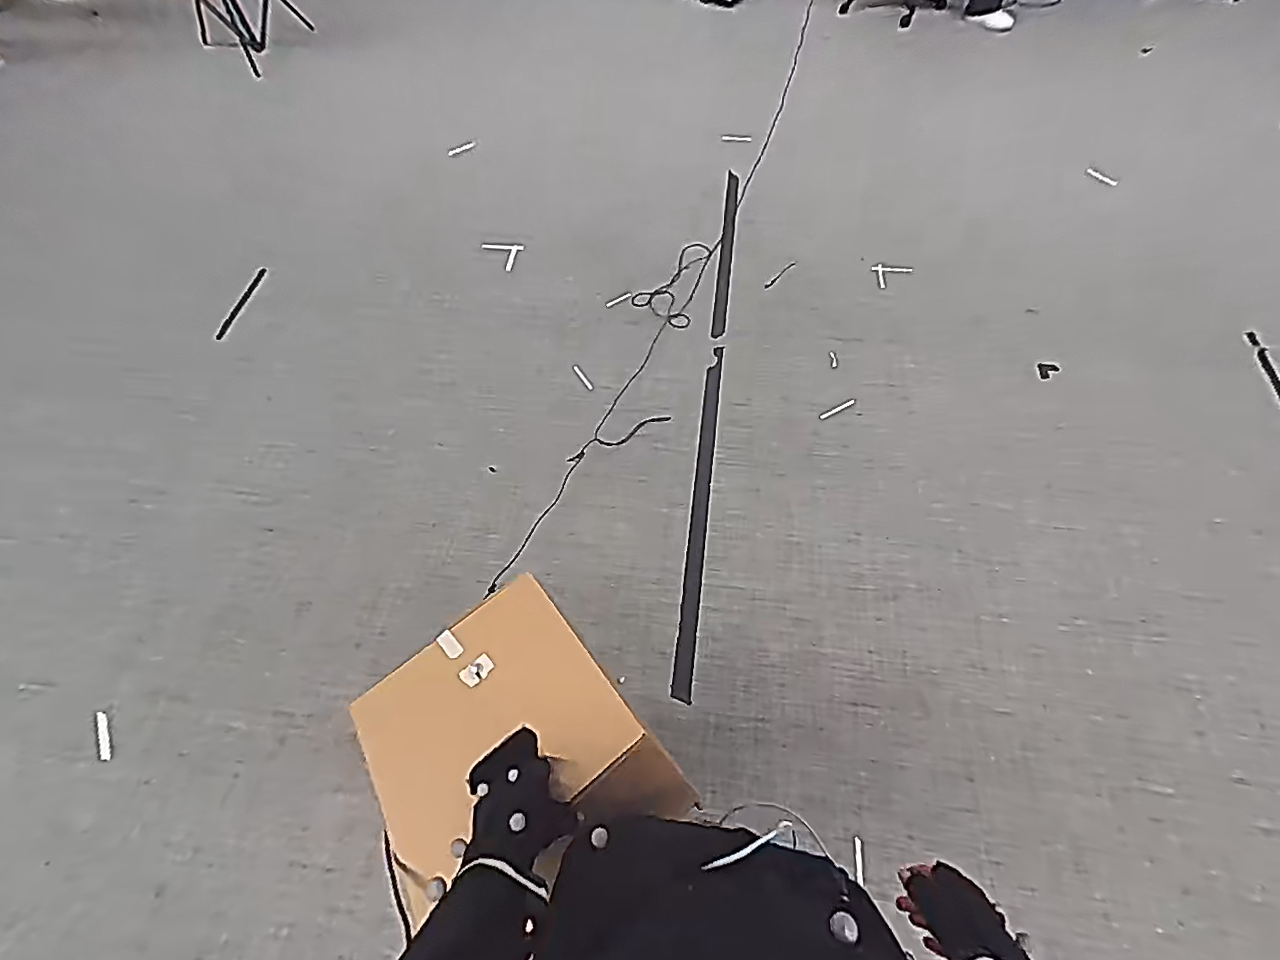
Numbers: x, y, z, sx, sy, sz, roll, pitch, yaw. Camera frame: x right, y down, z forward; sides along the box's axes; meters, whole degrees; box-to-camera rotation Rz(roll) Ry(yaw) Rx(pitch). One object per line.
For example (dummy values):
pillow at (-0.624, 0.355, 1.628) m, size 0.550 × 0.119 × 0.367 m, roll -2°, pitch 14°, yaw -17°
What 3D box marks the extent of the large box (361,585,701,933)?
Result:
large box at (-0.150, 0.439, 0.857) m, size 0.320 × 0.408 × 0.320 m, roll -37°, pitch 50°, yaw -12°
